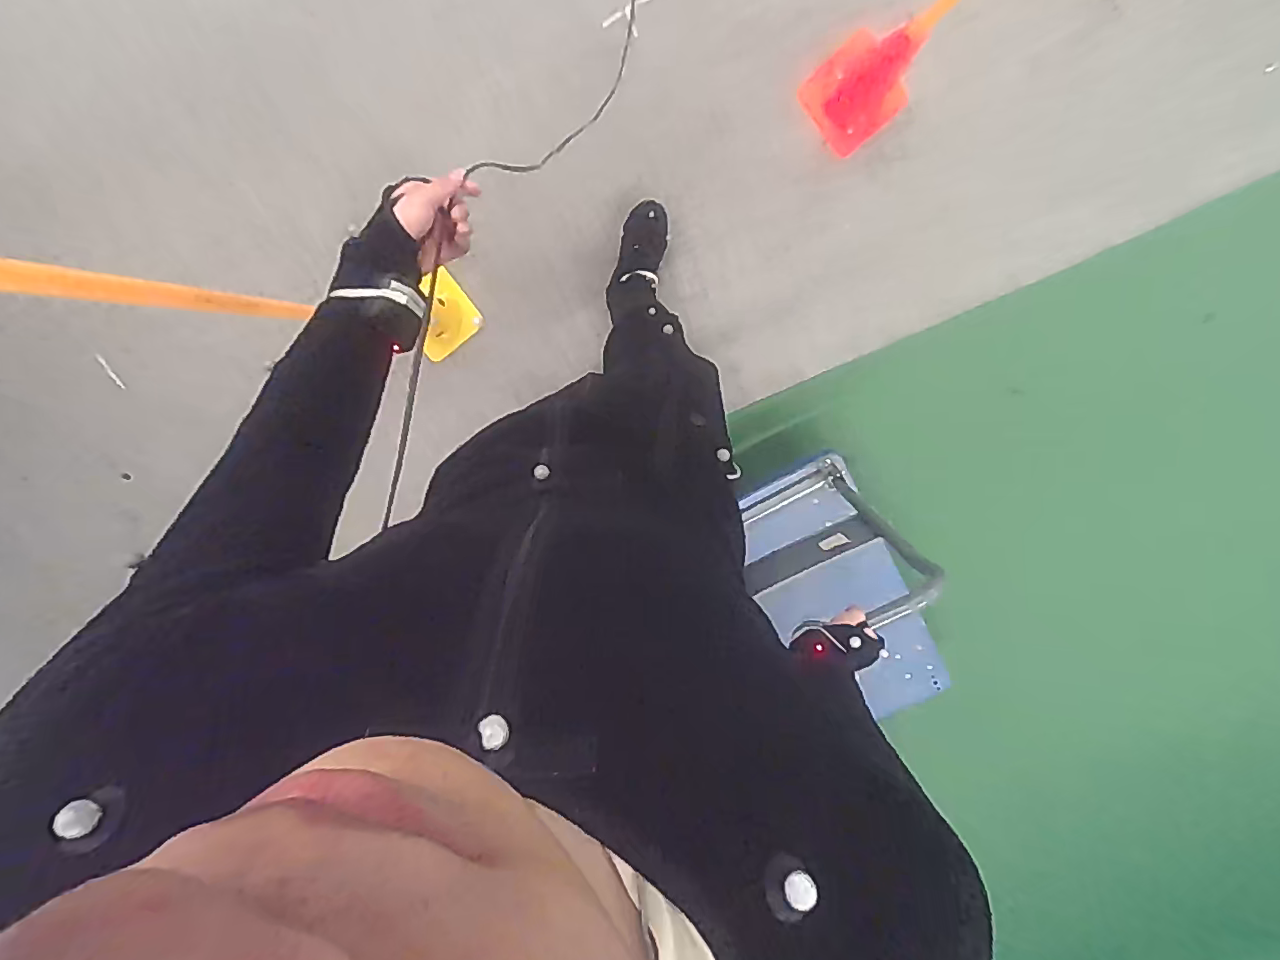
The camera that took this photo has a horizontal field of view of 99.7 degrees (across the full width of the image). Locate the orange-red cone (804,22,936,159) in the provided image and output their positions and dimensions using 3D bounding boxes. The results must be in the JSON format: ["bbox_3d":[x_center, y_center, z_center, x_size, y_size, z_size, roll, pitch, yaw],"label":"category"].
[{"bbox_3d":[0.514,-0.855,1.129,0.199,0.360,0.198,-38,104,12],"label":"orange-red cone"}]
